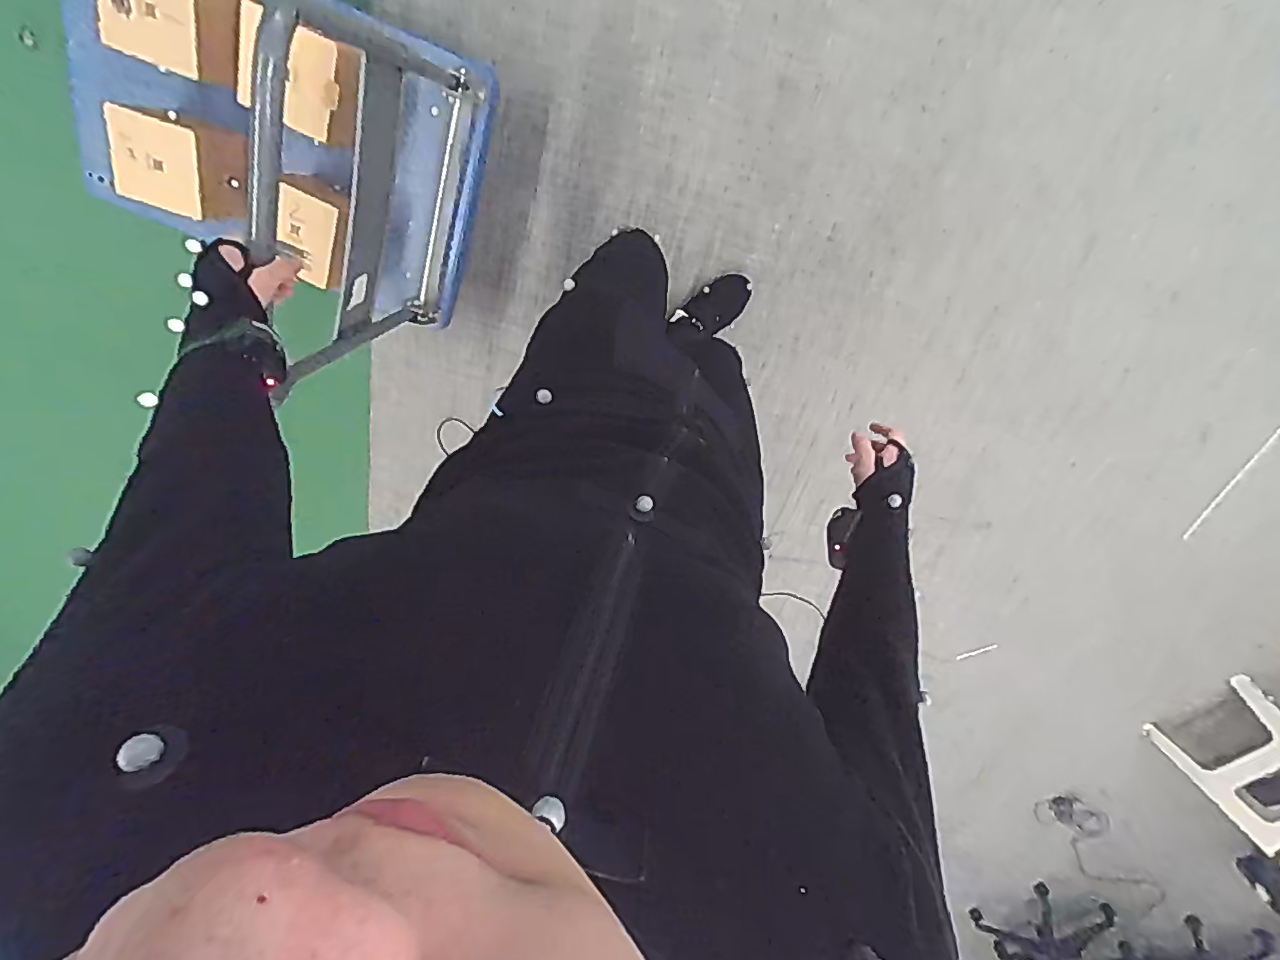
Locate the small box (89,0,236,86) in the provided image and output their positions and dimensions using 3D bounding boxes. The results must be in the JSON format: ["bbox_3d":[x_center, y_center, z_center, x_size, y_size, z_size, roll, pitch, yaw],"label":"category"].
[{"bbox_3d":[-0.868,-0.865,1.011,0.179,0.176,0.168,19,120,-6],"label":"small box"}]

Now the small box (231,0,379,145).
[{"bbox_3d":[-0.640,-0.772,1.045,0.179,0.176,0.168,22,118,-8],"label":"small box"}]

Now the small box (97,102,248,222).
[{"bbox_3d":[-0.959,-0.660,1.132,0.179,0.176,0.168,18,118,-5],"label":"small box"}]
